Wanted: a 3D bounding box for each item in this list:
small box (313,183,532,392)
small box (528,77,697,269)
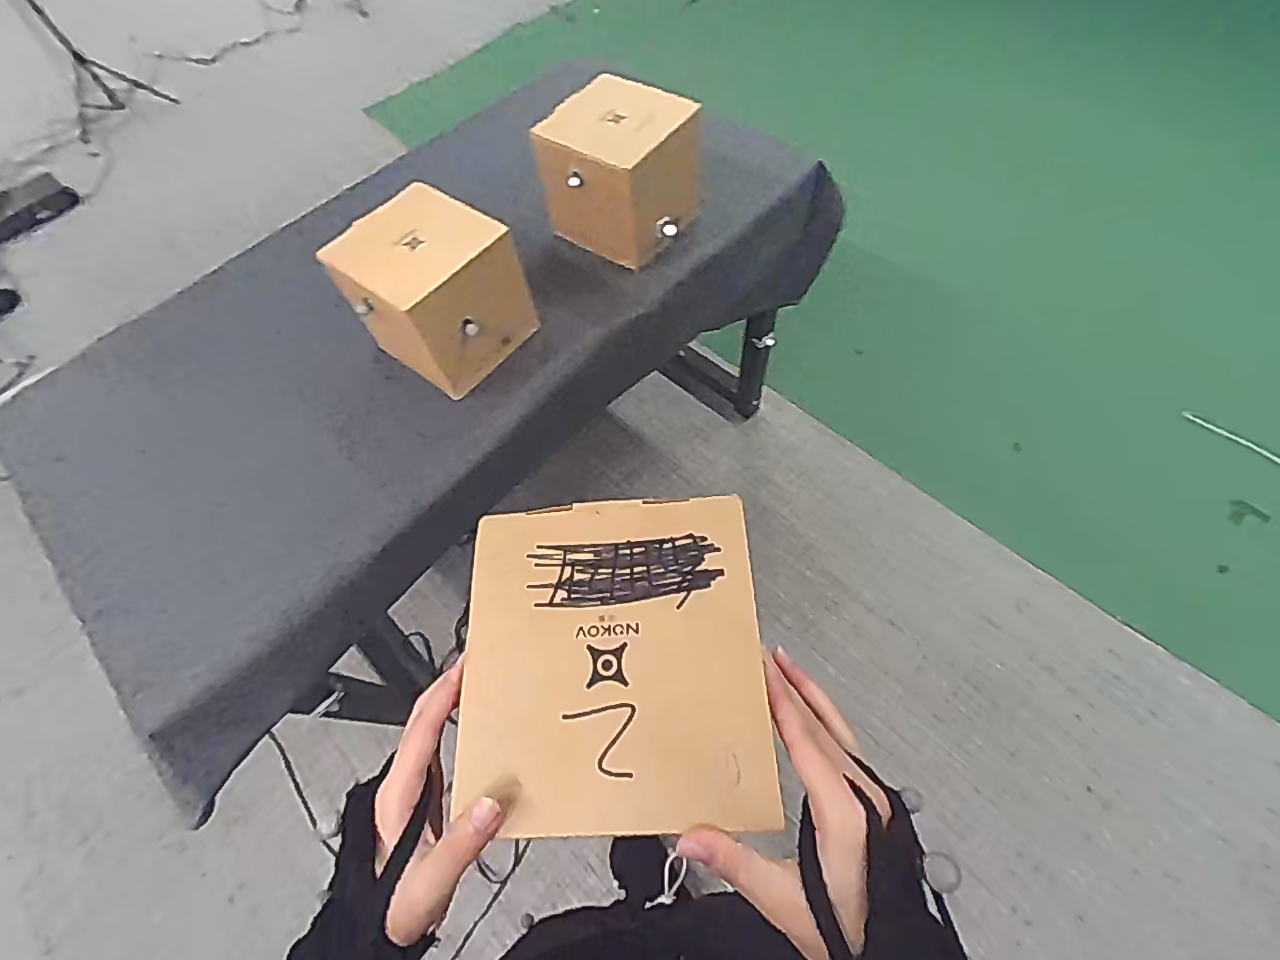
[{"bbox_3d":[-0.269,-0.243,0.712,0.179,0.176,0.168,33,69,20],"label":"small box"},{"bbox_3d":[-0.033,-0.449,0.804,0.179,0.176,0.168,32,70,19],"label":"small box"}]
